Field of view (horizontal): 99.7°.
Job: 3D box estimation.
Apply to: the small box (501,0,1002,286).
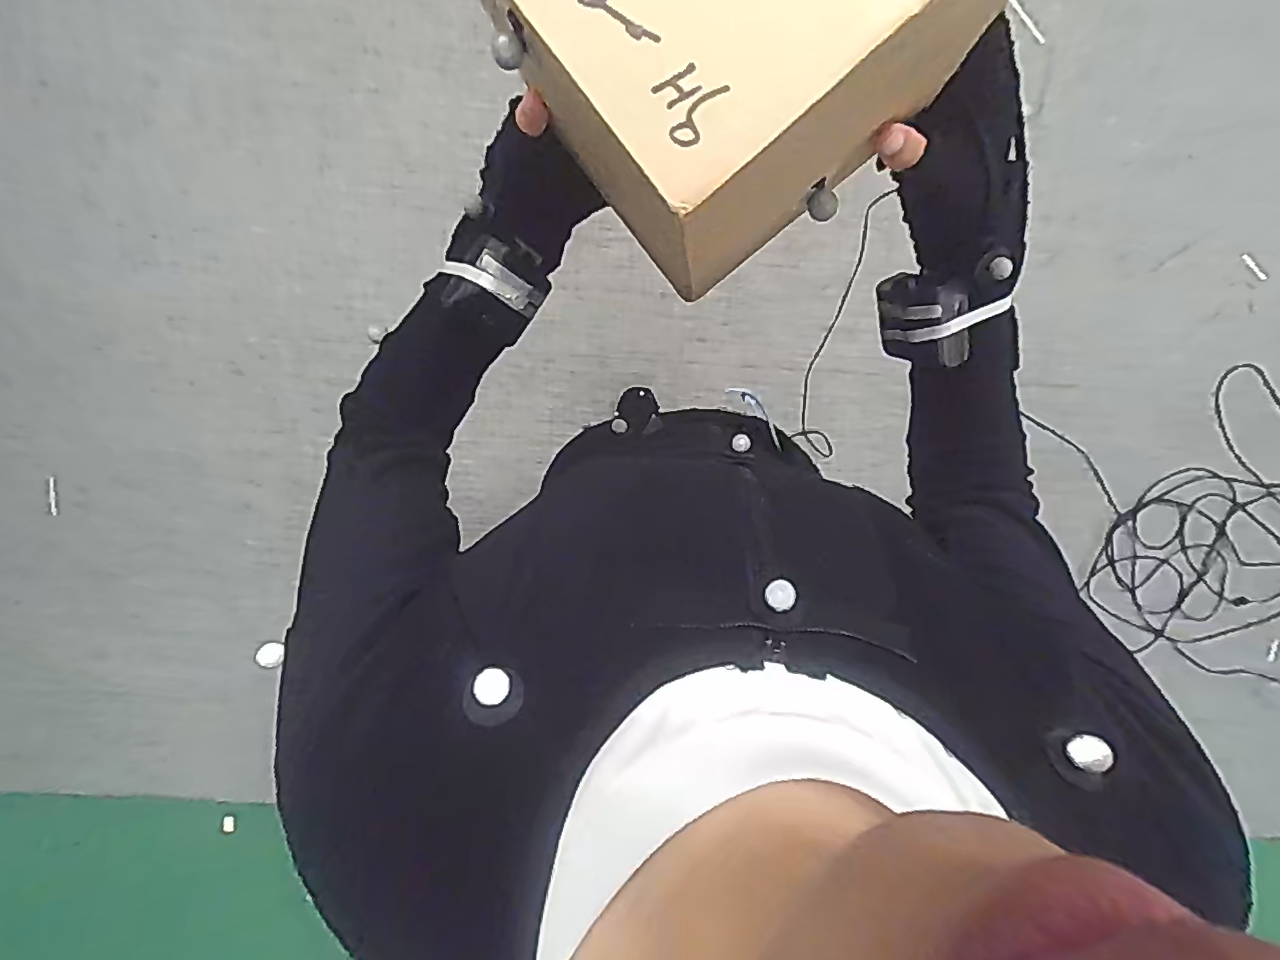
[{"bbox_3d":[0.043,-0.222,0.250,0.179,0.176,0.168,-37,93,9],"label":"small box"}]
